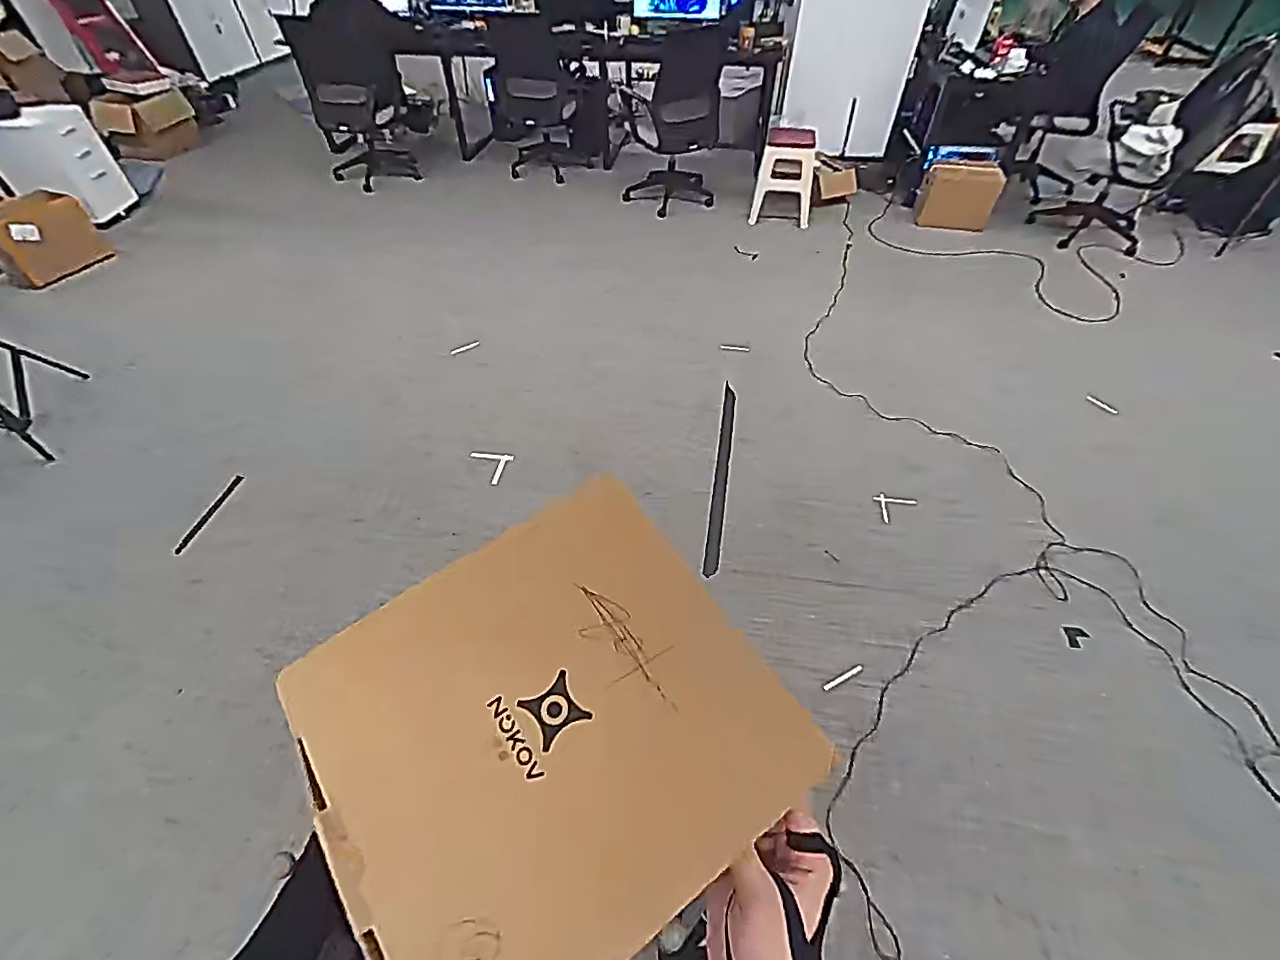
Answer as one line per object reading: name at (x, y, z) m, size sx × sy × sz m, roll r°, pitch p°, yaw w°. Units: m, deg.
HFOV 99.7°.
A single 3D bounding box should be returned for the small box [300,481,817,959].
small box at (-0.038, 0.140, 0.306) m, size 0.179 × 0.176 × 0.168 m, roll -33°, pitch 66°, yaw -18°
